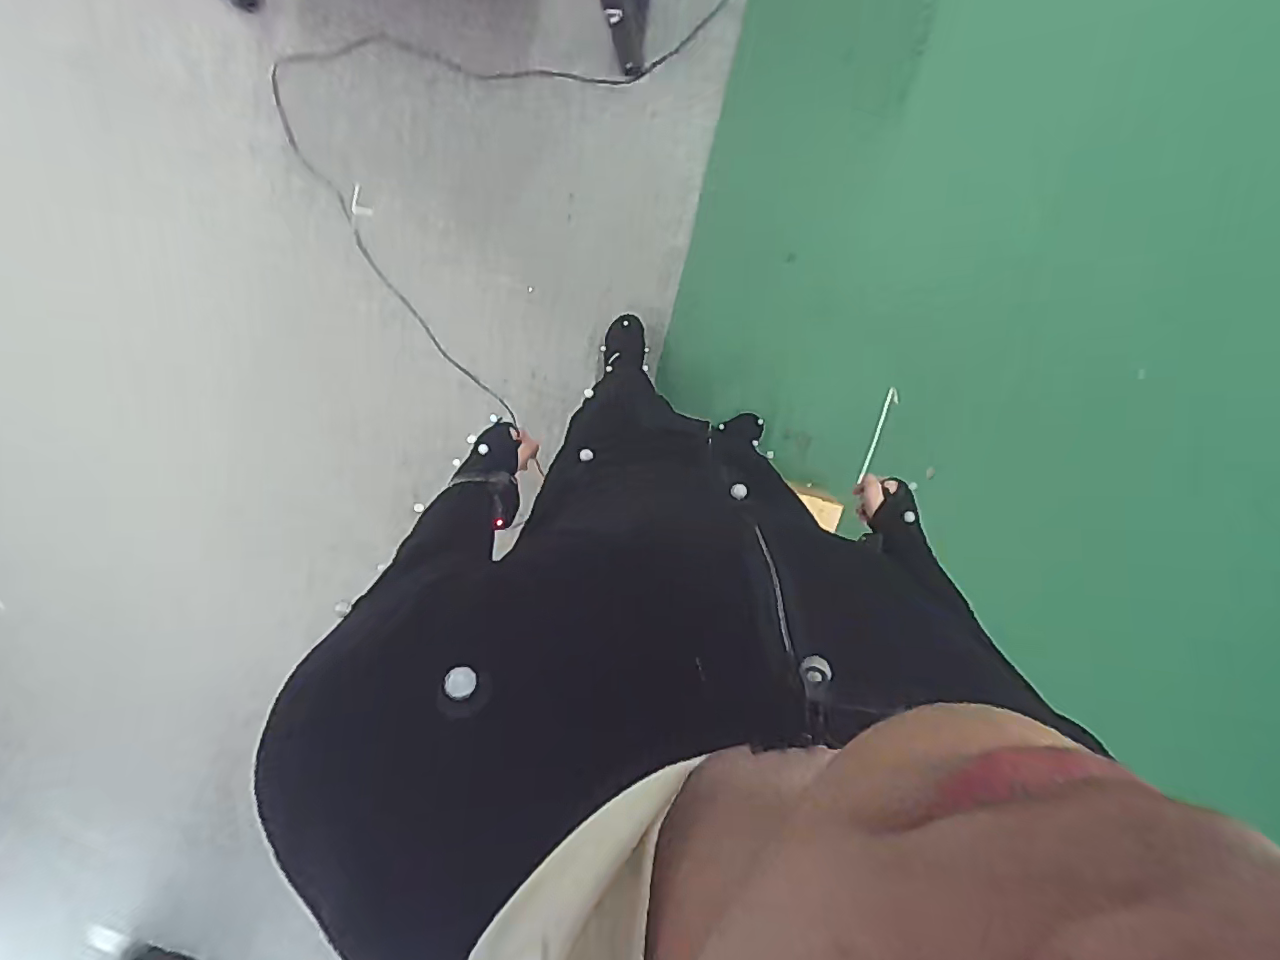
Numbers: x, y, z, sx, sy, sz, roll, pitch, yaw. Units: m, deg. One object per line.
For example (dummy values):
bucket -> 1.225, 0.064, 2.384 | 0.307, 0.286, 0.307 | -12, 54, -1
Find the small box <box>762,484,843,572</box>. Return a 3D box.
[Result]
small box -> 0.451, 0.130, 1.530 | 0.168, 0.176, 0.179 | 17, 104, 4
